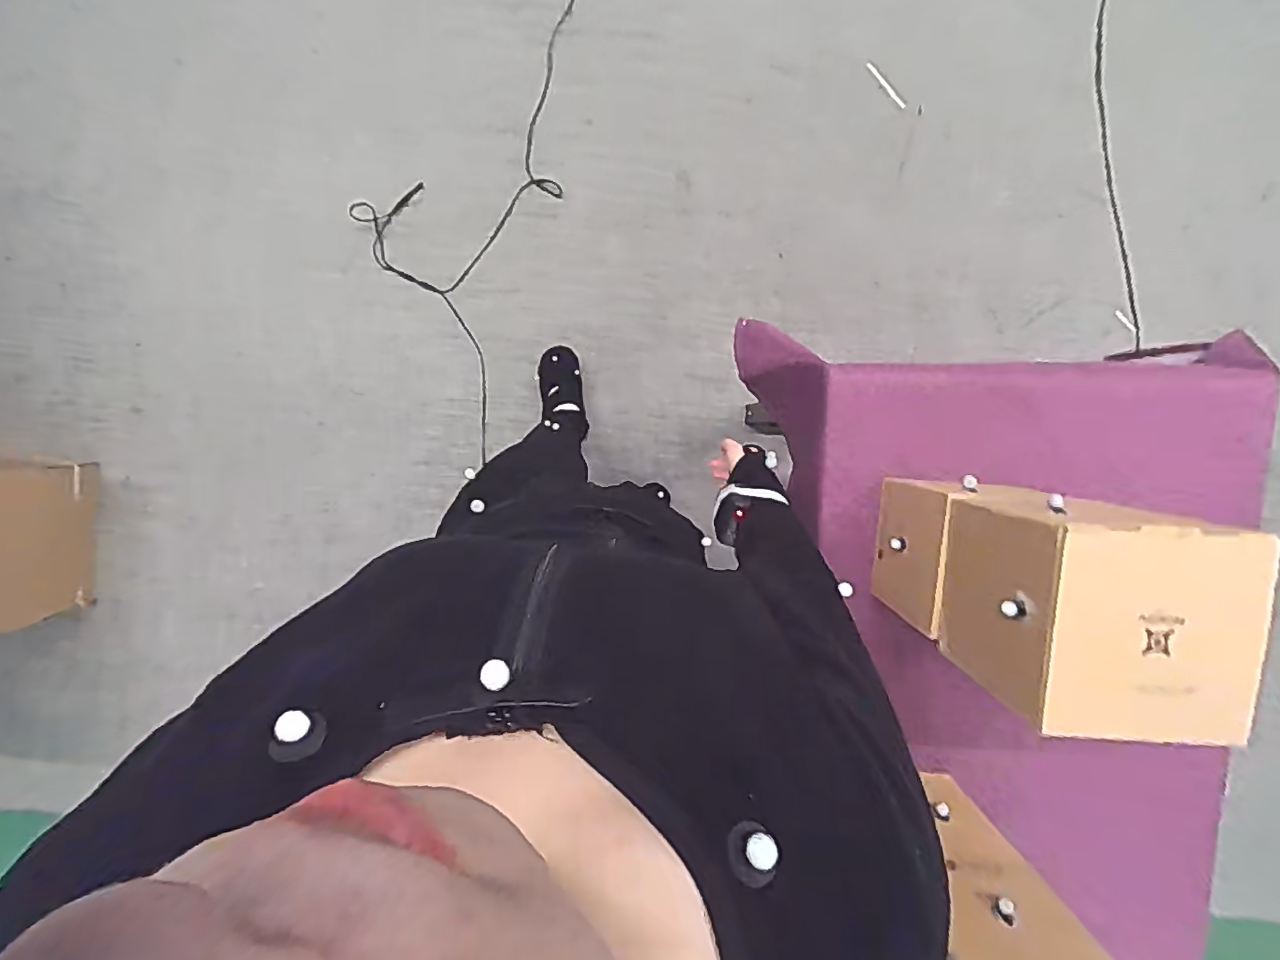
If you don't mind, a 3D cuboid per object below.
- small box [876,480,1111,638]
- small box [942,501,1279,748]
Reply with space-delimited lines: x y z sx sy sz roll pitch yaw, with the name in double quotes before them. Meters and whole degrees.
"small box" 0.416 0.094 0.670 0.179 0.176 0.168 5 97 1
"small box" 0.412 0.118 0.508 0.168 0.176 0.179 3 97 2
